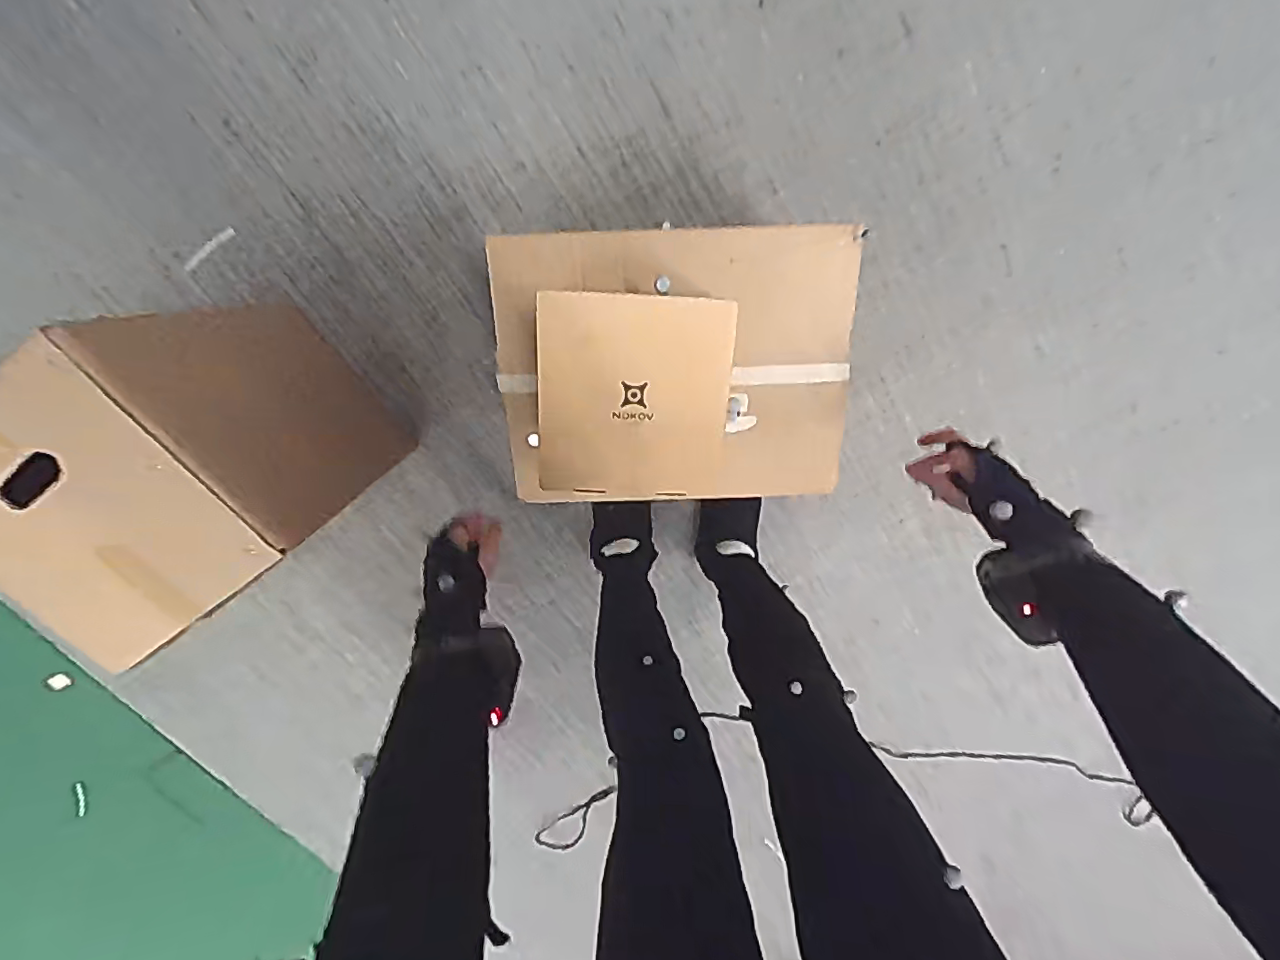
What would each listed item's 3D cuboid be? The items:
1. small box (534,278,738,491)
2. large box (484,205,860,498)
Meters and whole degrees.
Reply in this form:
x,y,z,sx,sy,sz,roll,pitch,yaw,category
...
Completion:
x,y,z,sx,sy,sz,roll,pitch,yaw,category
-0.008,-0.102,0.529,0.168,0.176,0.179,2,111,-1,small box
0.037,-0.185,0.757,0.408,0.320,0.320,-3,112,0,large box
